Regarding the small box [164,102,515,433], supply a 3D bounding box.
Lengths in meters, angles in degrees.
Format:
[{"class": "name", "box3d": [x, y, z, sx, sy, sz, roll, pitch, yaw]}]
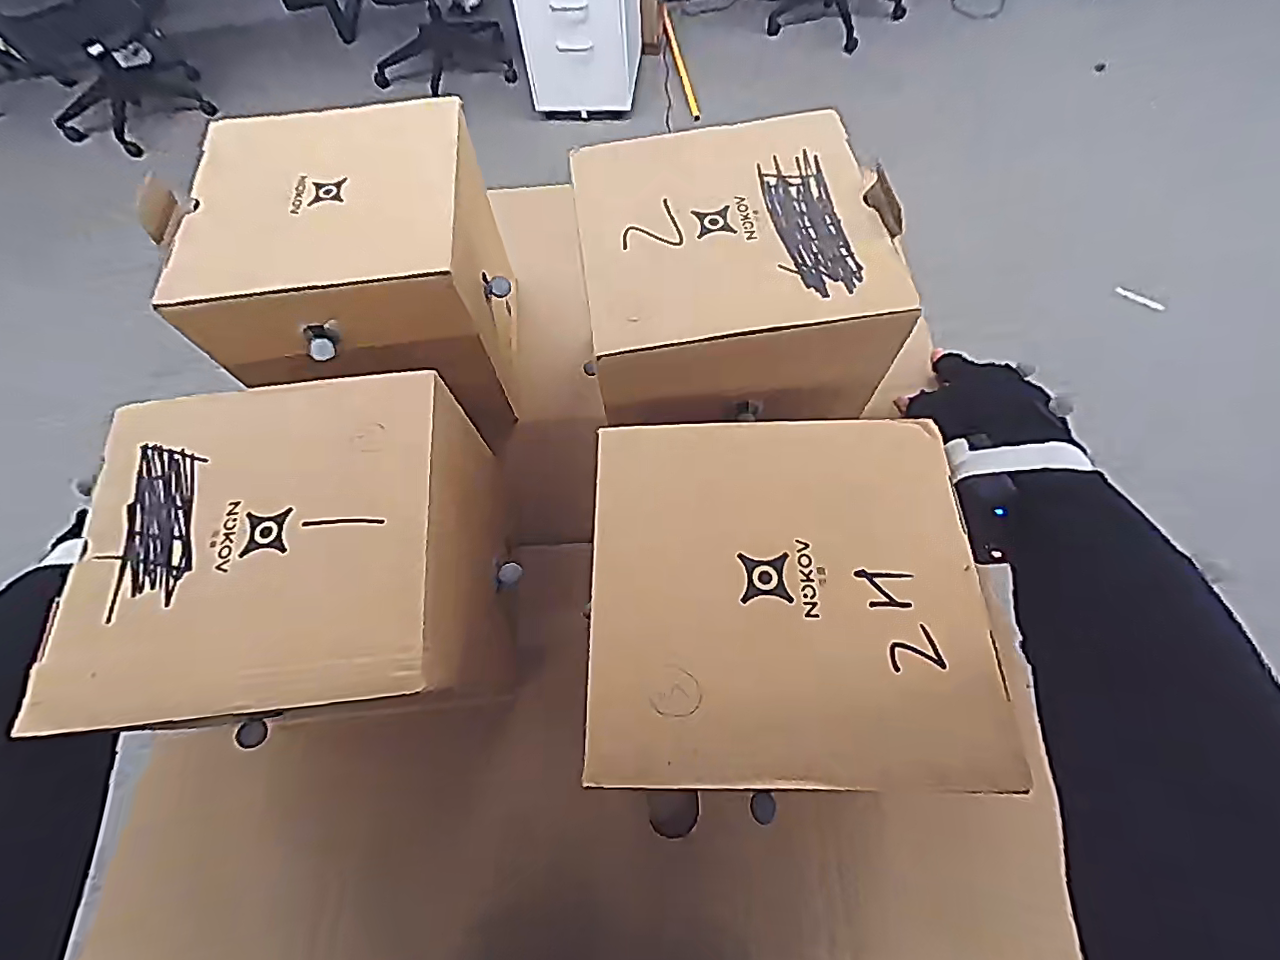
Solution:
[{"class": "small box", "box3d": [-0.201, -0.153, 0.426, 0.179, 0.176, 0.168, -7, 65, 0]}]
